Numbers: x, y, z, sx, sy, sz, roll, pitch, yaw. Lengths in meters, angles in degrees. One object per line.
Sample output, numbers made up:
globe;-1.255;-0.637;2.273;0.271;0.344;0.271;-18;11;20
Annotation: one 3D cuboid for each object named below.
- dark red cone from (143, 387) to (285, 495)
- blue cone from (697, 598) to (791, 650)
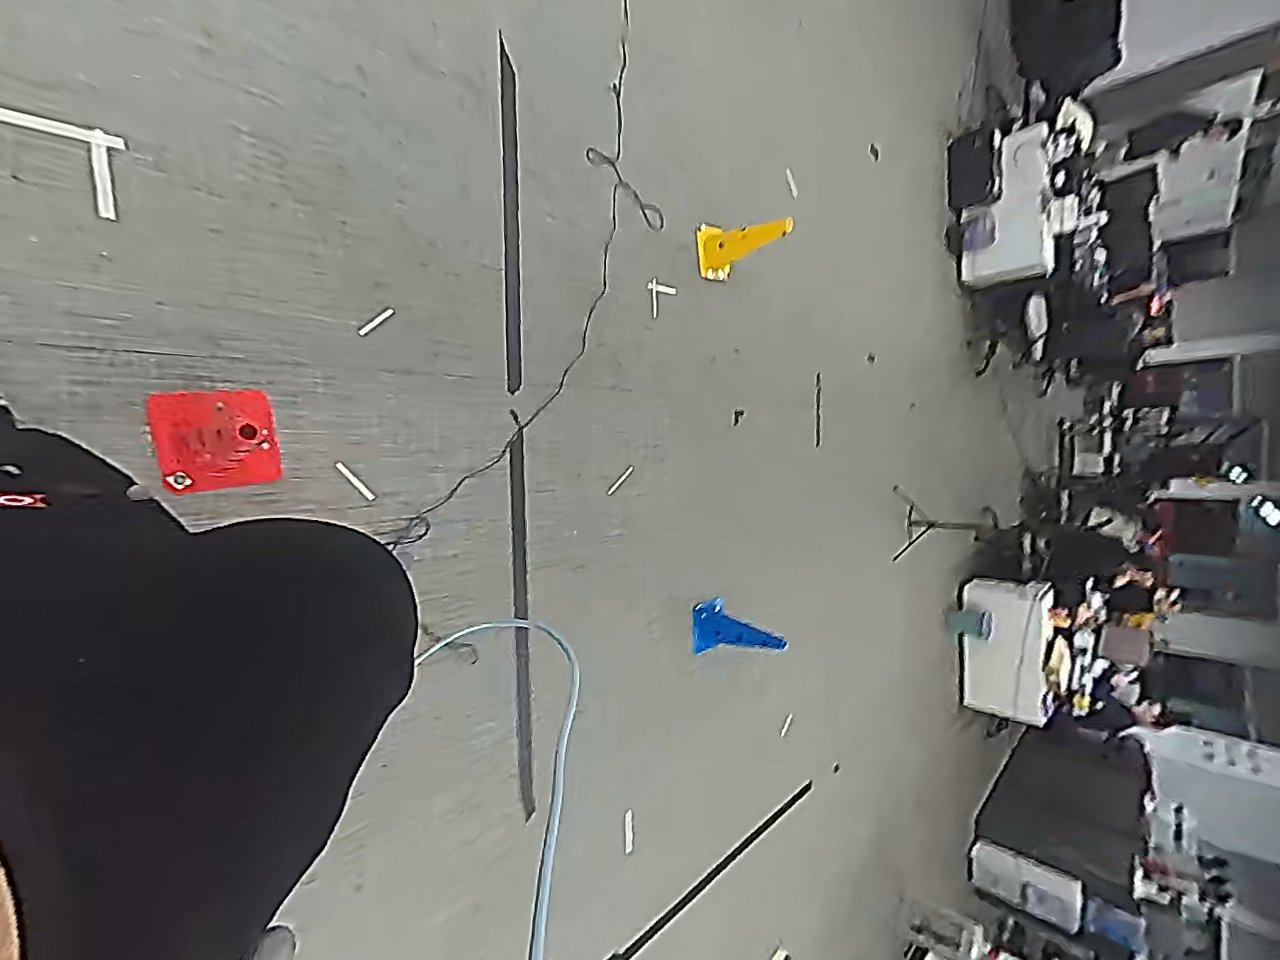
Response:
dark red cone;-0.720;-0.078;0.958;0.201;0.394;0.202;-15;101;-45
blue cone;0.412;0.600;2.123;0.192;0.380;0.193;-3;93;-45
